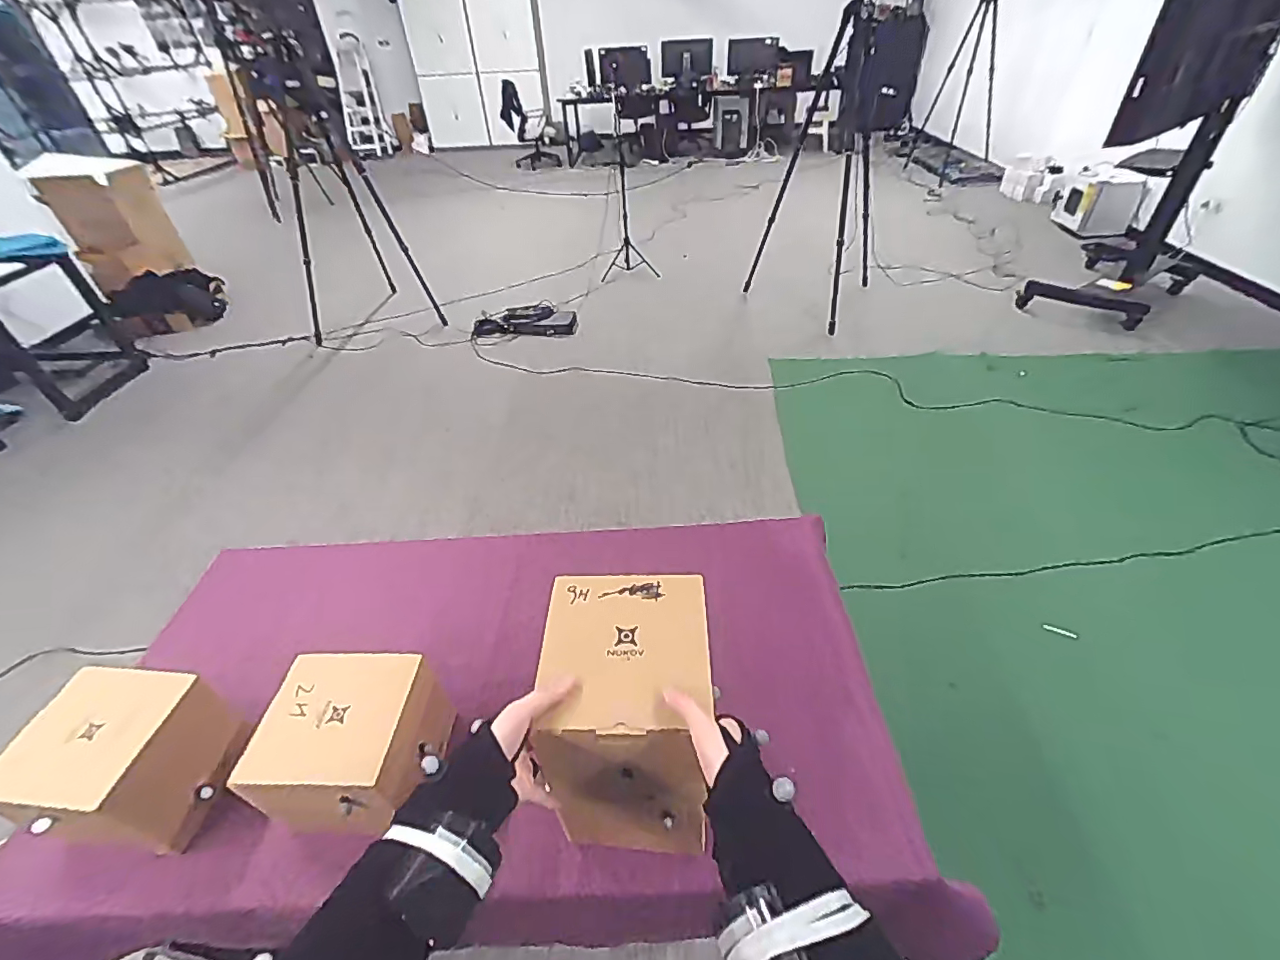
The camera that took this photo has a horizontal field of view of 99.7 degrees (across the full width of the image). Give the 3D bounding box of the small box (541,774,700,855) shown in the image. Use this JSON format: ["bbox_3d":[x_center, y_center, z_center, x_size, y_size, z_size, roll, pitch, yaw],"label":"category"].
[{"bbox_3d":[-0.011,0.354,0.690,0.179,0.176,0.168,2,41,6],"label":"small box"}]

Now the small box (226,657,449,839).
[{"bbox_3d":[-0.375,0.354,0.716,0.179,0.176,0.168,-1,40,3],"label":"small box"}]

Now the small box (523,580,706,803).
[{"bbox_3d":[-0.015,0.229,0.584,0.168,0.176,0.179,-1,41,3],"label":"small box"}]

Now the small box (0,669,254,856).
[{"bbox_3d":[-0.675,0.374,0.717,0.179,0.176,0.168,2,41,6],"label":"small box"}]
